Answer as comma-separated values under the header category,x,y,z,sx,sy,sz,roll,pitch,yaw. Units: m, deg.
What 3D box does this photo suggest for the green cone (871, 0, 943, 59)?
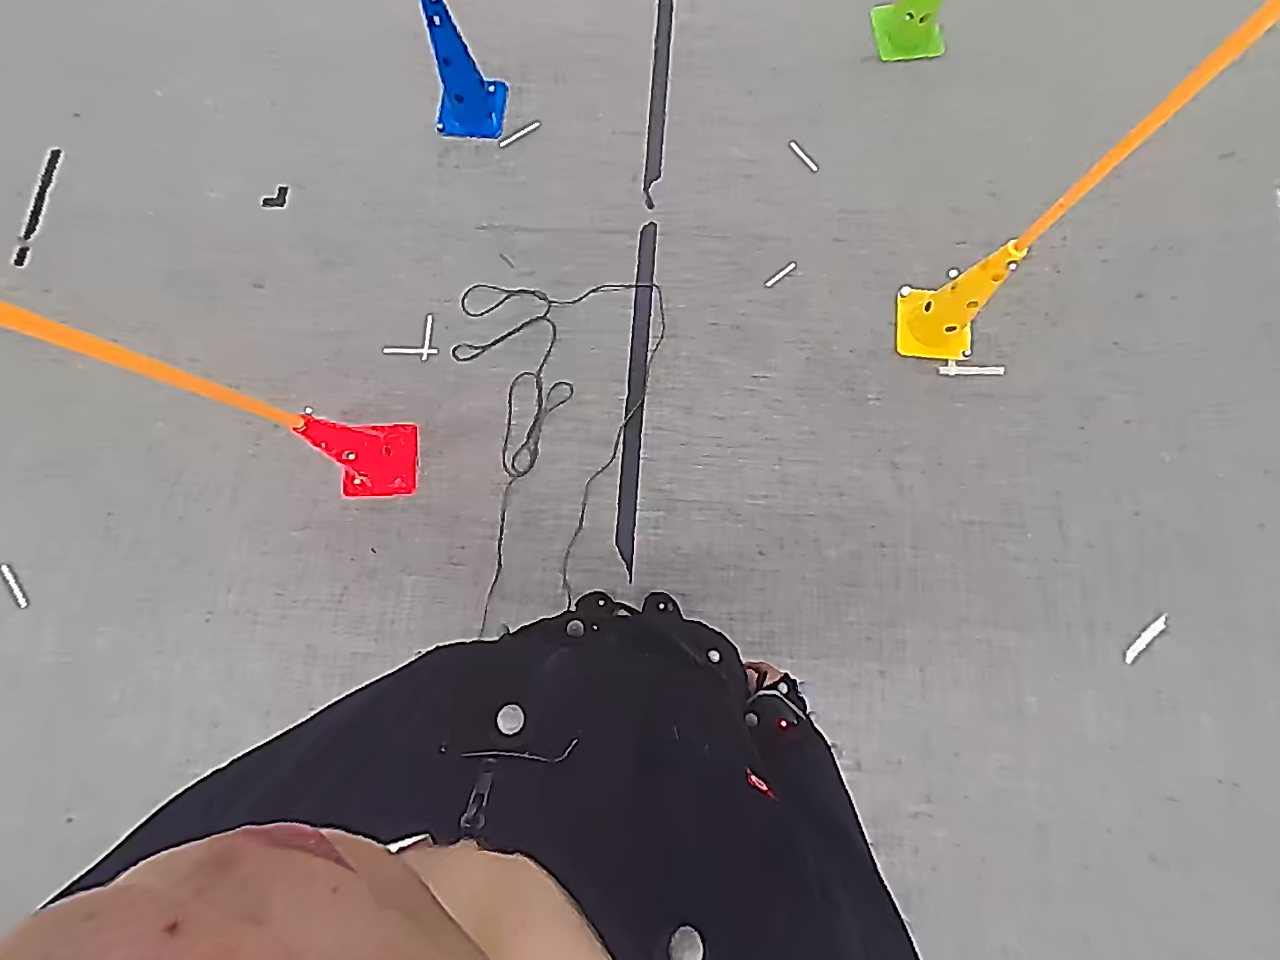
category,x,y,z,sx,sy,sz,roll,pitch,yaw
green cone,0.820,-1.426,1.503,0.200,0.368,0.202,-7,81,0

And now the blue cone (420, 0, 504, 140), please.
category,x,y,z,sx,sy,sz,roll,pitch,yaw
blue cone,-0.518,-1.160,1.494,0.193,0.380,0.192,6,80,3

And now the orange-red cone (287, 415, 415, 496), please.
category,x,y,z,sx,sy,sz,roll,pitch,yaw
orange-red cone,-0.702,-0.085,1.278,0.199,0.360,0.198,-2,80,0
